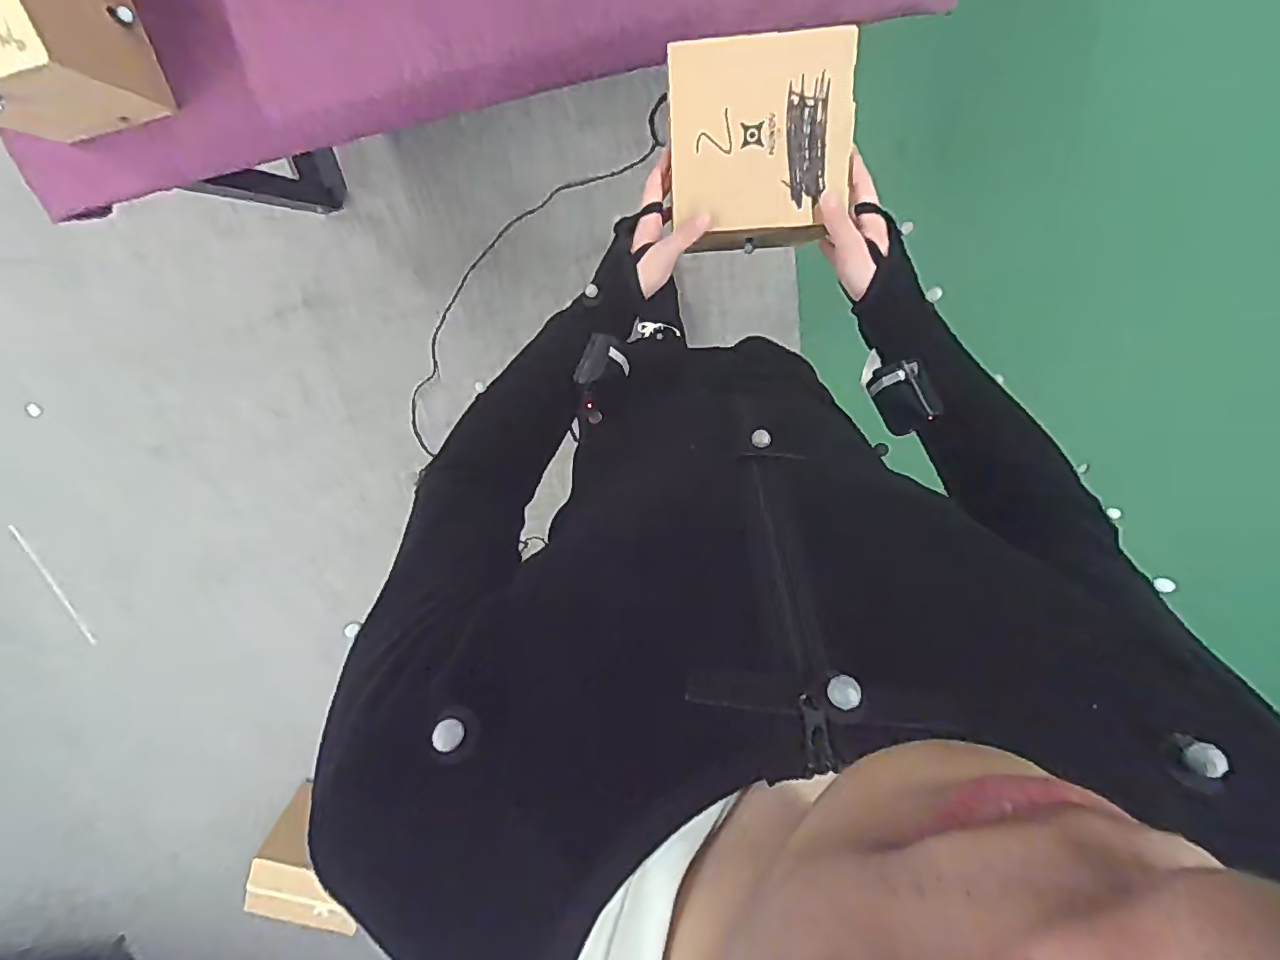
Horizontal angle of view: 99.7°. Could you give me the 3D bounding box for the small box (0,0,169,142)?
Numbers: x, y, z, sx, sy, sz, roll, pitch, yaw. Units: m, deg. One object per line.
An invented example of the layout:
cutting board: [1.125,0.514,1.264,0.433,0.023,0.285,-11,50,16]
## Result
small box: [-0.691,-0.505,0.592,0.168,0.176,0.179,-12,110,4]

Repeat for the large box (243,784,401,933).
large box: [-1.197,1.432,2.060,0.408,0.320,0.320,19,111,-9]
